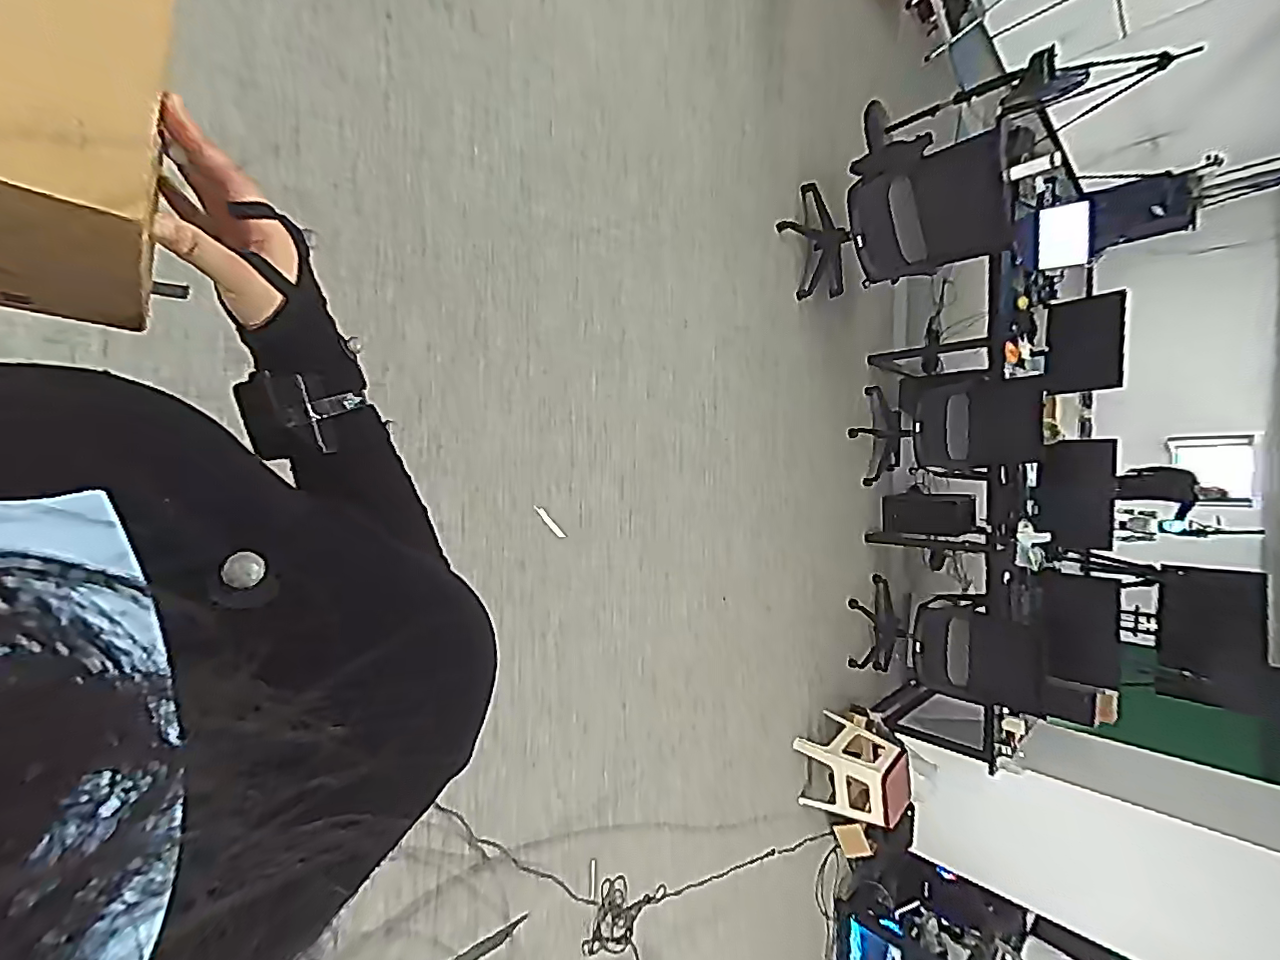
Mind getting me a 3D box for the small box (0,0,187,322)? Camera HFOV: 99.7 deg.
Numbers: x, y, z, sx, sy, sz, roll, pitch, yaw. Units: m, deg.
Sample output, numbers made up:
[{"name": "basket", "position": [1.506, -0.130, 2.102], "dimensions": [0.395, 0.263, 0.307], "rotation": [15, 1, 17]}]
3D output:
[{"name": "small box", "position": [-0.375, -0.213, 0.303], "dimensions": [0.168, 0.176, 0.179], "rotation": [8, 75, -43]}]
